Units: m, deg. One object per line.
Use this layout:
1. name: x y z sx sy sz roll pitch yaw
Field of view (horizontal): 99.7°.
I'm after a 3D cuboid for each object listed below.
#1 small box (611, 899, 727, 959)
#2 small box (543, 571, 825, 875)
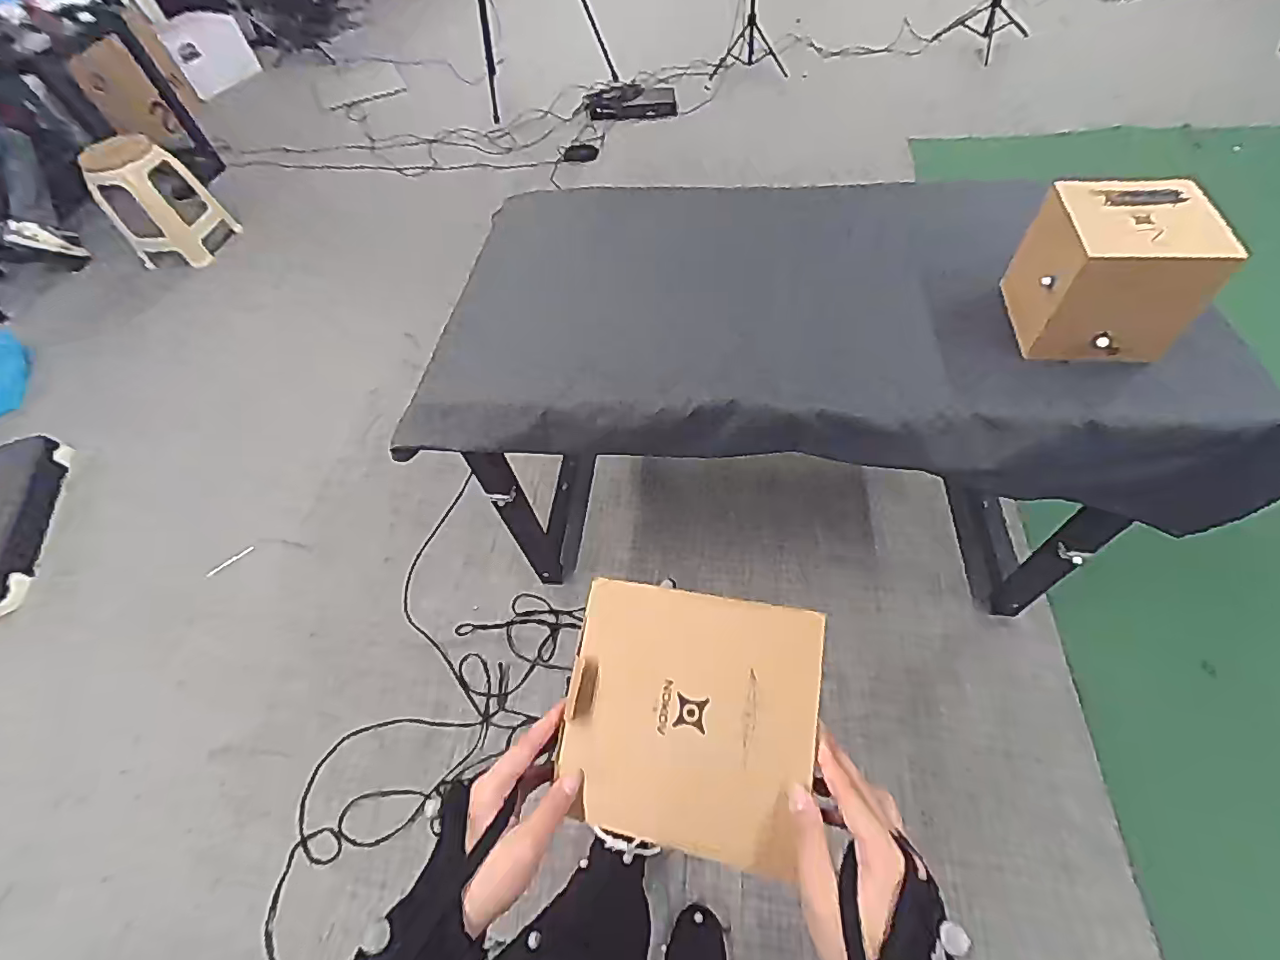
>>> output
1. small box: 0.050 0.853 0.879 0.176 0.168 0.179 -39 71 6
2. small box: 0.047 0.182 0.443 0.179 0.176 0.168 6 71 14
